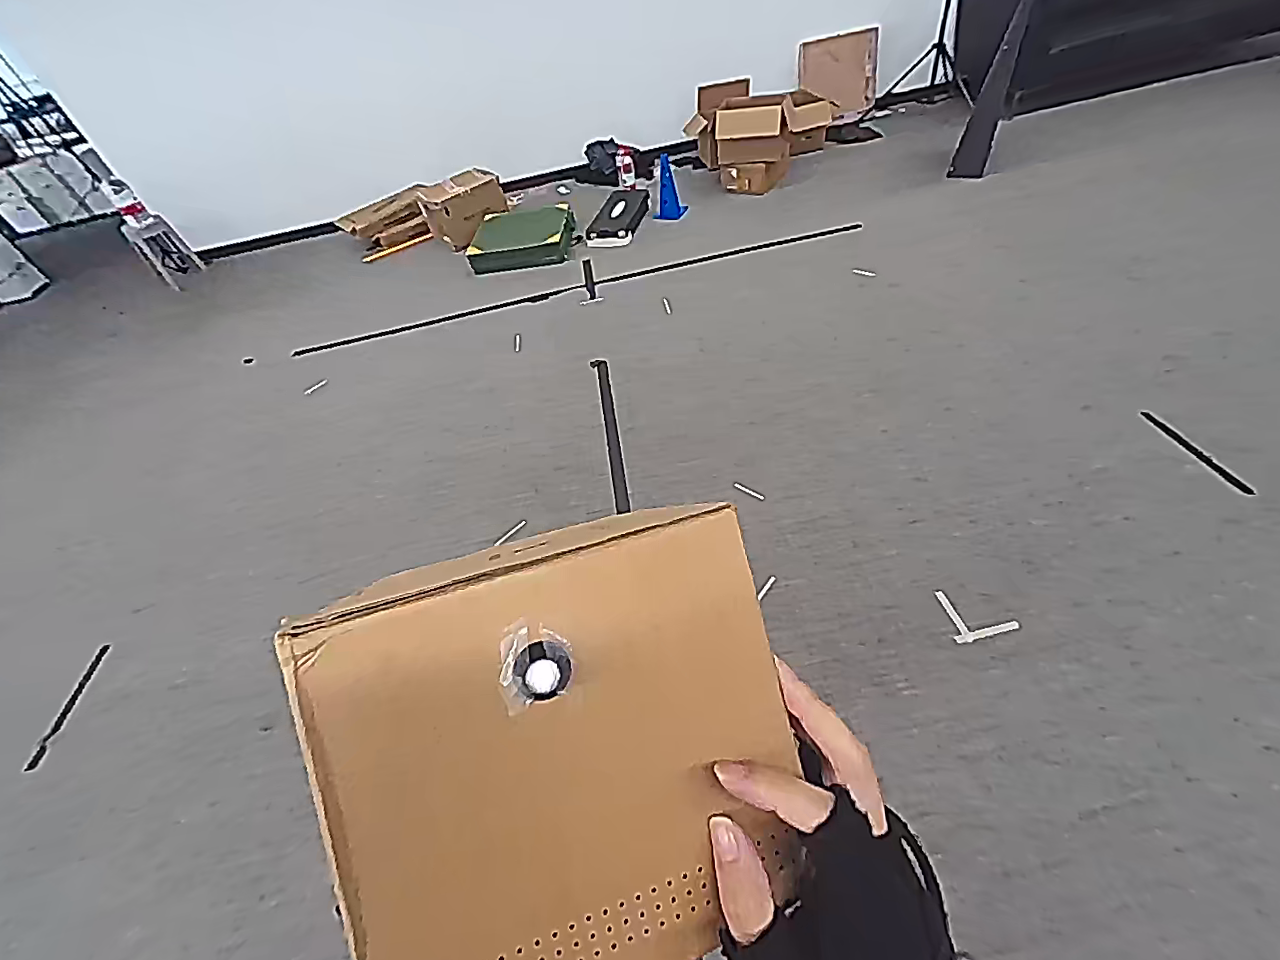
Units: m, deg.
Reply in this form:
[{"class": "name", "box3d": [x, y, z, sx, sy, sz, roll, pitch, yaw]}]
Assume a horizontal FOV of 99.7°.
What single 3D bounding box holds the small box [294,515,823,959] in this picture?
[{"class": "small box", "box3d": [-0.036, 0.122, 0.281, 0.179, 0.168, 0.176, -14, 89, -14]}]
